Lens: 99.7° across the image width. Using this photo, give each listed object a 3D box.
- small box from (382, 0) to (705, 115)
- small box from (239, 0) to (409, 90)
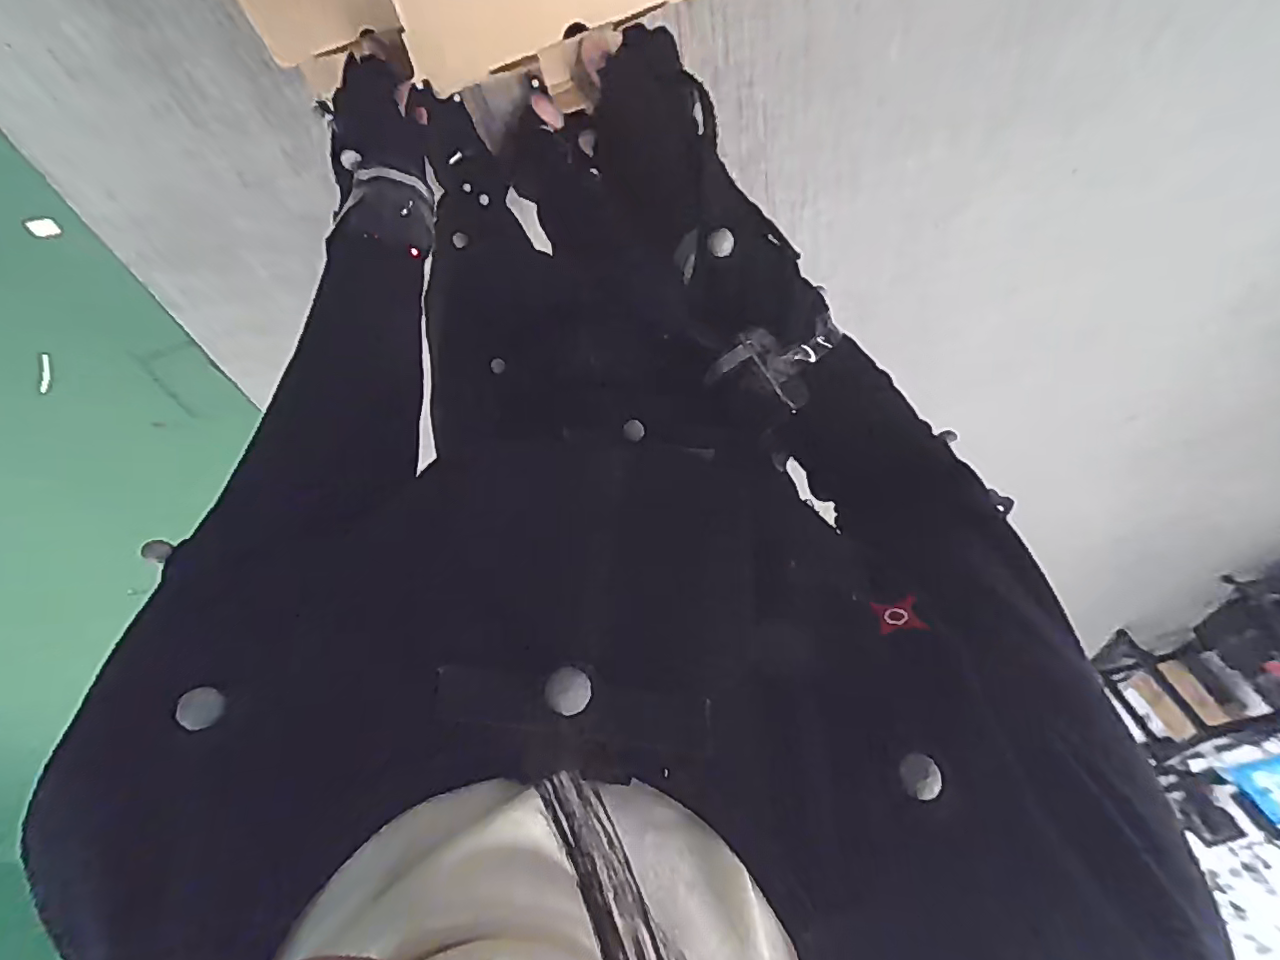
[{"bbox_3d":[-0.079,-0.342,0.289,0.168,0.176,0.179,-22,140,1],"label":"small box"},{"bbox_3d":[-0.251,-0.469,0.450,0.168,0.176,0.179,-16,138,4],"label":"small box"}]
